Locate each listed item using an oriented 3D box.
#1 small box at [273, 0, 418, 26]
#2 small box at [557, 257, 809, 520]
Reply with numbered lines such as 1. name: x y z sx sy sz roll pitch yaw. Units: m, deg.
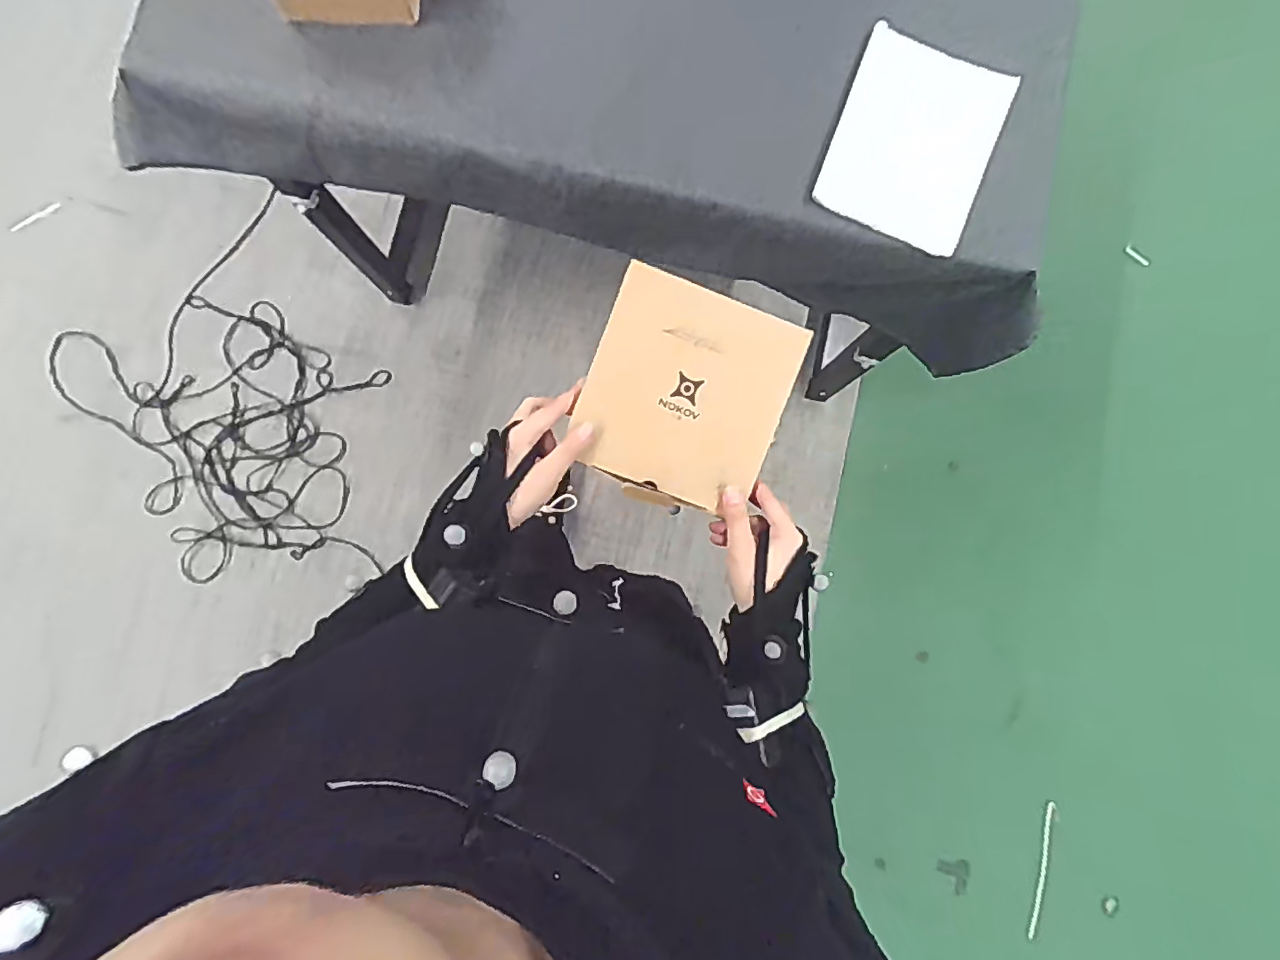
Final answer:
1. small box: -0.377 -0.682 0.635 0.179 0.176 0.168 0 83 -2
2. small box: 0.034 -0.077 0.528 0.168 0.176 0.179 21 90 -3
